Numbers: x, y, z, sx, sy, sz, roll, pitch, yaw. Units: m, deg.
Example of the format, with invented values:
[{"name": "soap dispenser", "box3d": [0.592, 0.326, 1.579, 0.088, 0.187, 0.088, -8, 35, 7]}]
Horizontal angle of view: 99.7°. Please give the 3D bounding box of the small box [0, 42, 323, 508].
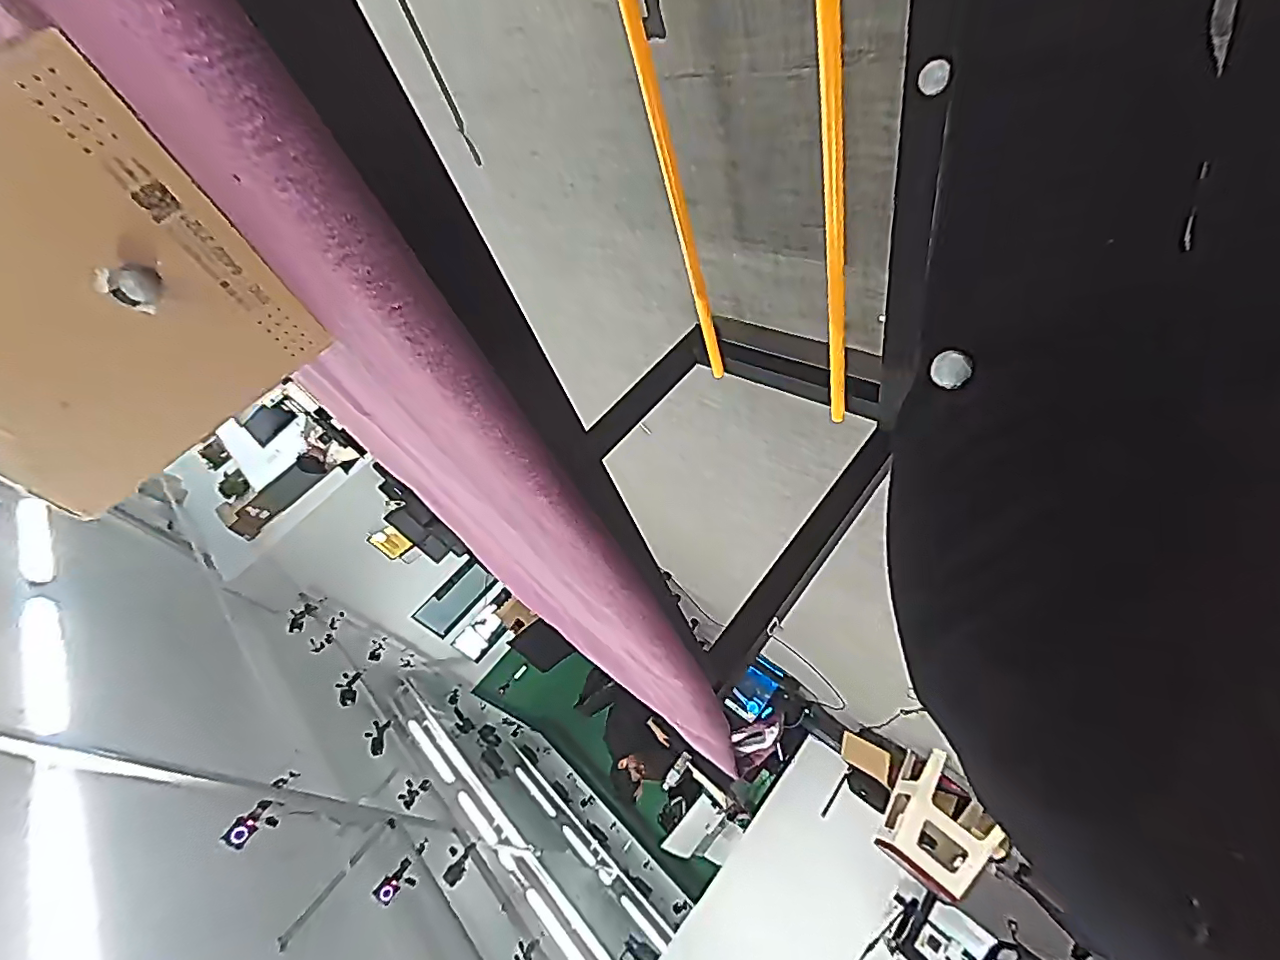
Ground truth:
[{"name": "small box", "box3d": [-0.331, -0.122, 0.316, 0.179, 0.176, 0.168, 32, 160, 33]}]
